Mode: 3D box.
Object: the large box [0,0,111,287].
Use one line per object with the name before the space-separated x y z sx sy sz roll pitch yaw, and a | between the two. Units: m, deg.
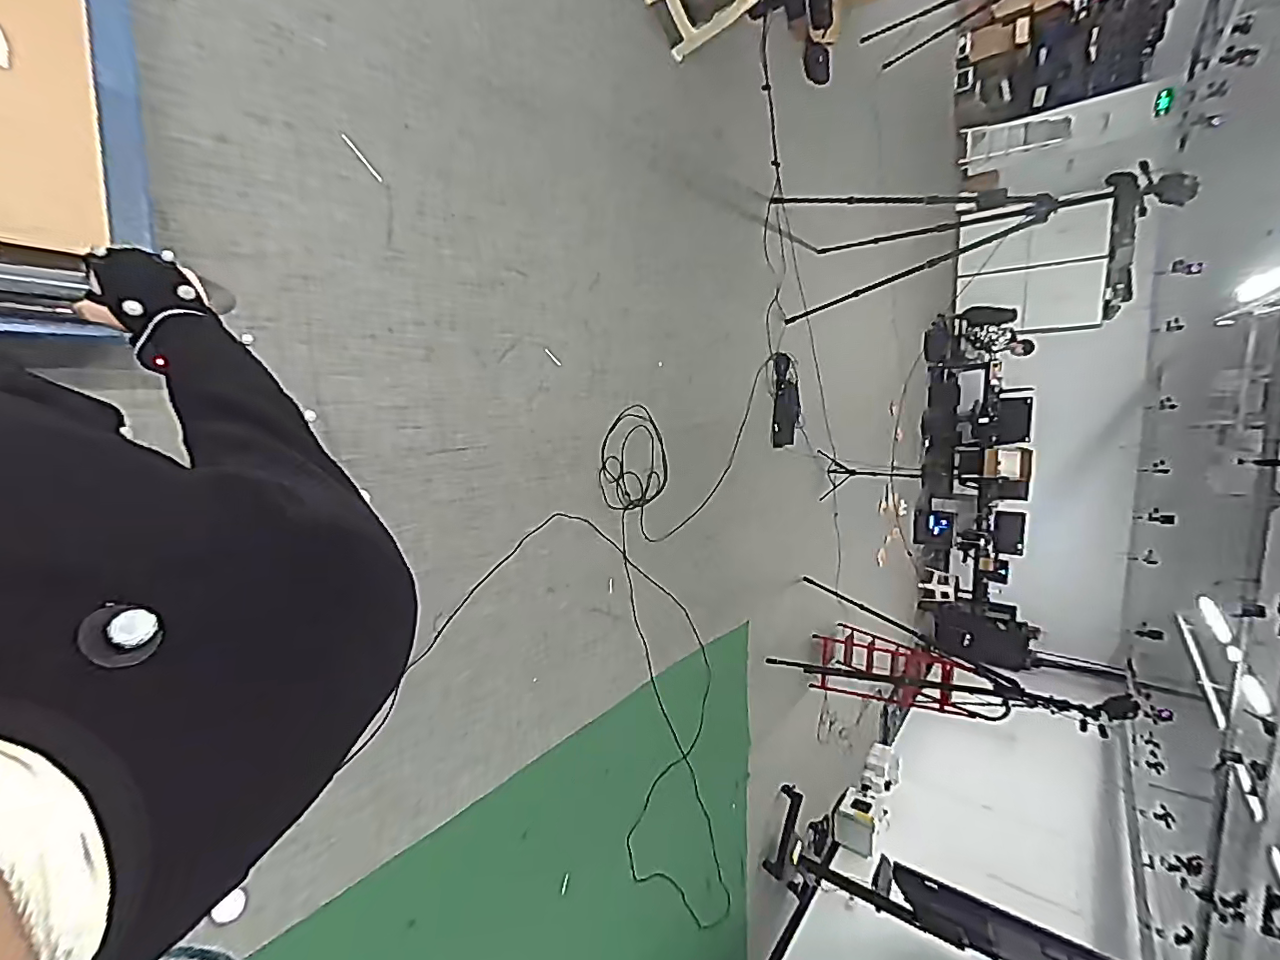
large box | -1.054 -0.538 0.808 0.320 0.320 0.408 -9 100 -51
